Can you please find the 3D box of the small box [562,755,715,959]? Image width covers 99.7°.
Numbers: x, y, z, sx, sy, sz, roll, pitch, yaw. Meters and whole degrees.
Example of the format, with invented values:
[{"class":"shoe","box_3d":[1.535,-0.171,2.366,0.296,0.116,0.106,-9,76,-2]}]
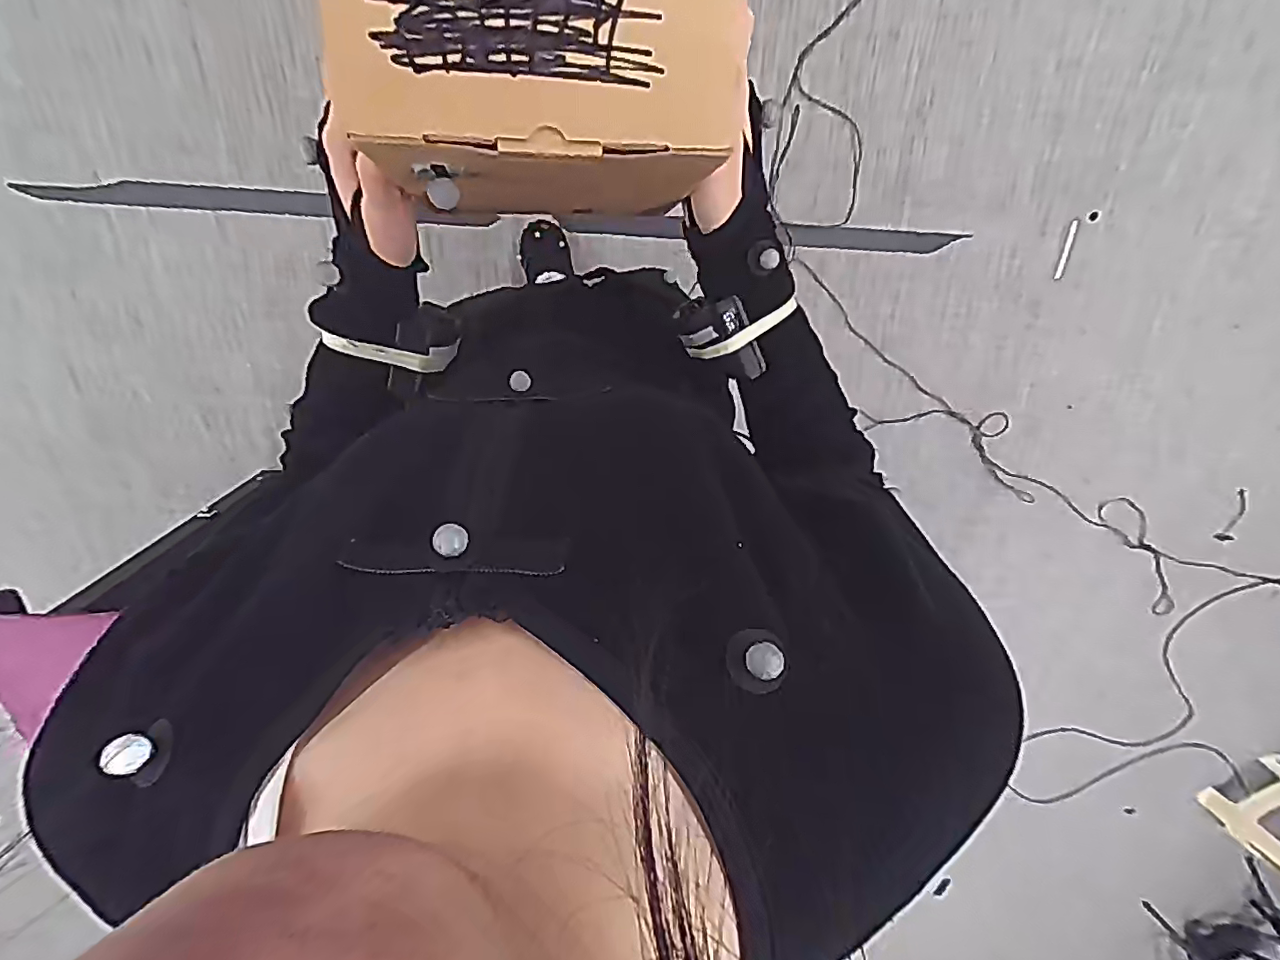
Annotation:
[{"class":"small box","box_3d":[-0.006,0.493,0.713,0.179,0.176,0.168,-3,115,-4]}]
